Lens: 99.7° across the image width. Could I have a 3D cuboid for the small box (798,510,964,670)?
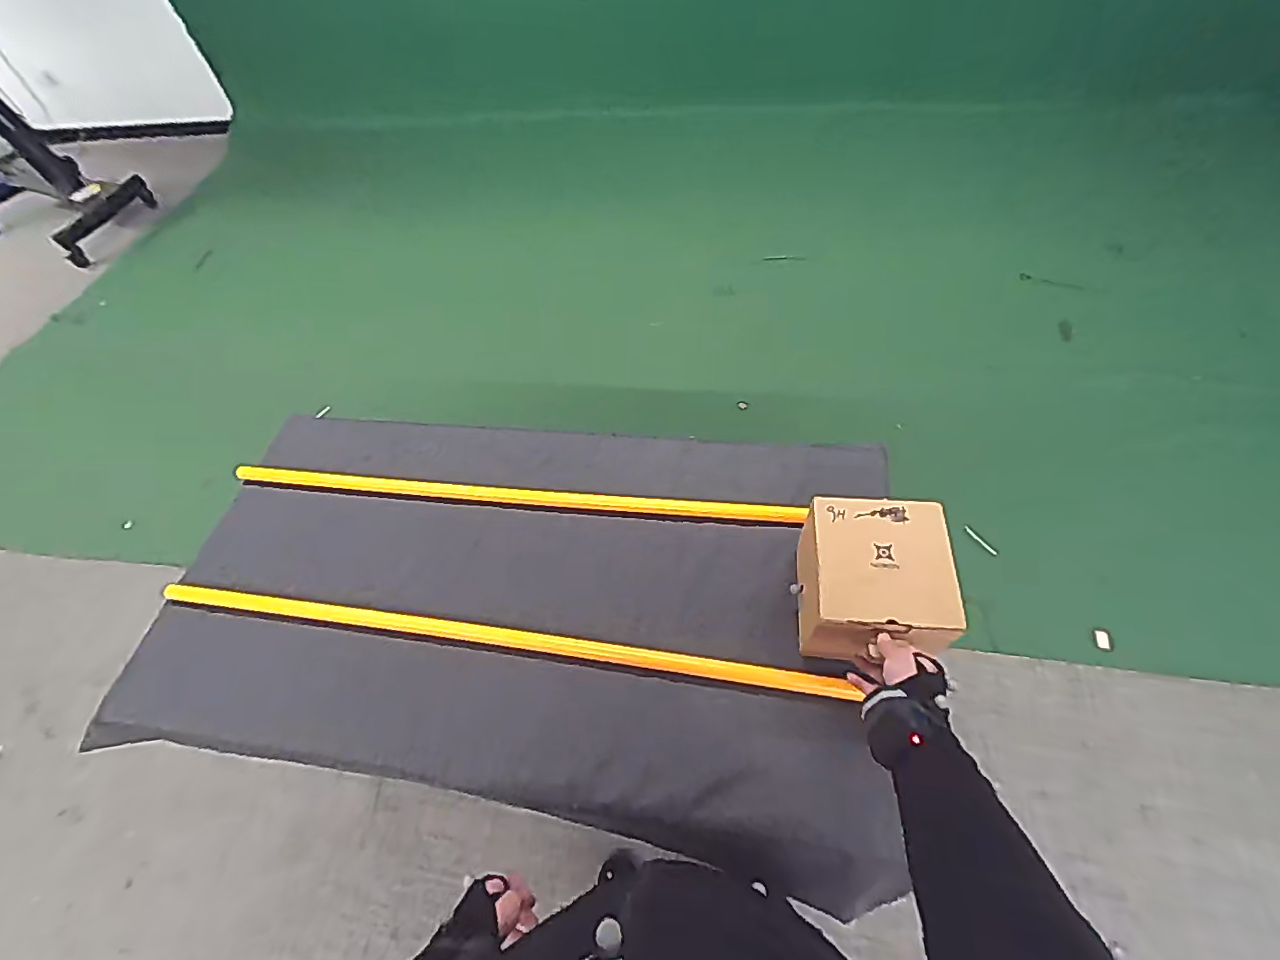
[{"bbox_3d":[0.318,0.158,0.754,0.168,0.176,0.179,-1,57,8],"label":"small box"}]
